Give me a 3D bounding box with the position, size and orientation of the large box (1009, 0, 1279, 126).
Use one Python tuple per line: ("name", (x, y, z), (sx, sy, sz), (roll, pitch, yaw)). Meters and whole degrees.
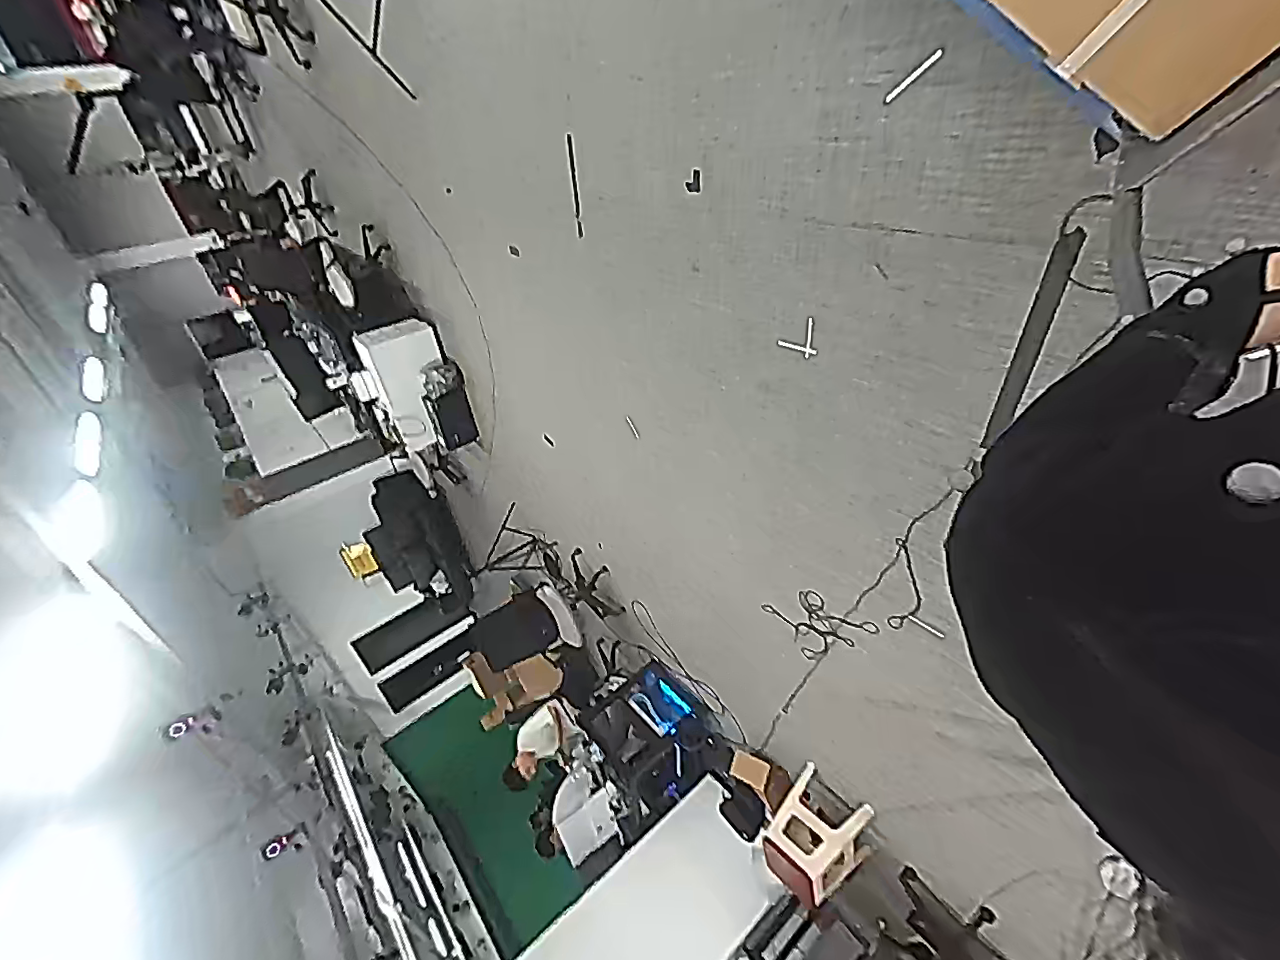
("large box", (0.713, -0.724, 0.606), (0.320, 0.320, 0.408), (39, 148, 0))
